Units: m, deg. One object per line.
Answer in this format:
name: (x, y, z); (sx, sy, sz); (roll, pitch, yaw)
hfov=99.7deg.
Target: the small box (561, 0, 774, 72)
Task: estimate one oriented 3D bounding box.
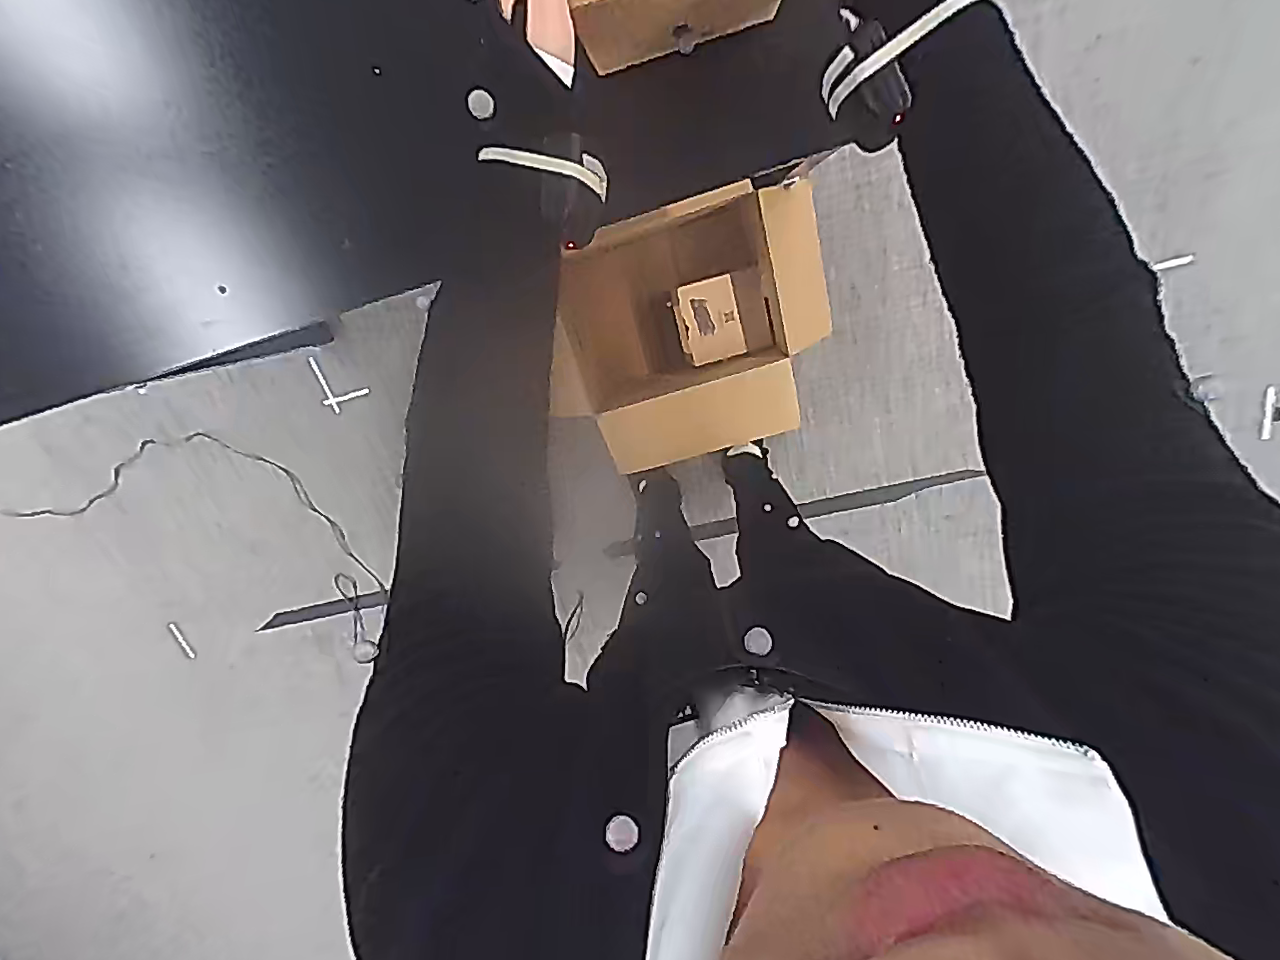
small box: (0.011, -0.441, 0.392); (0.168, 0.176, 0.179); (-11, 113, 10)
